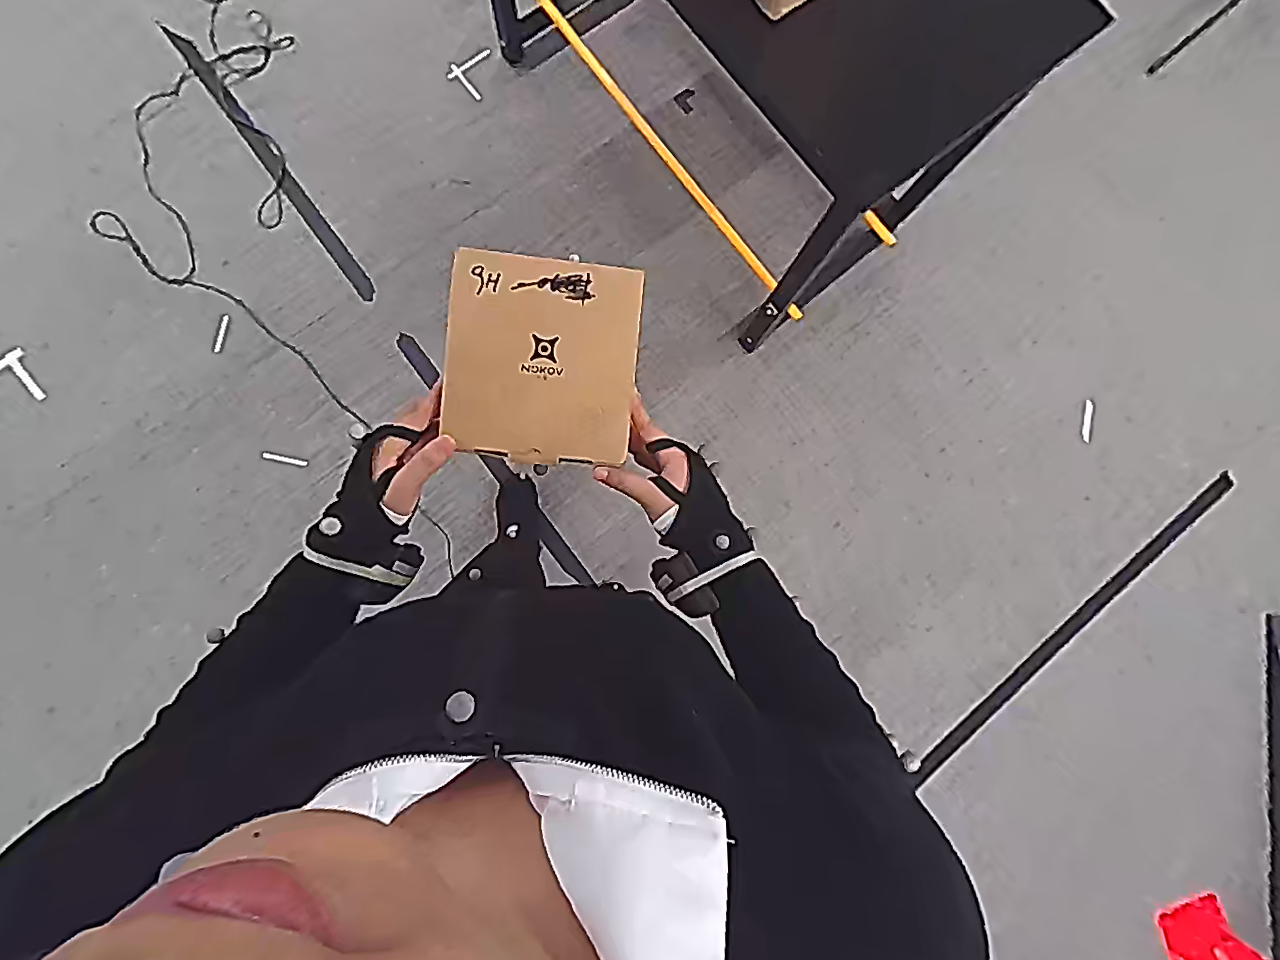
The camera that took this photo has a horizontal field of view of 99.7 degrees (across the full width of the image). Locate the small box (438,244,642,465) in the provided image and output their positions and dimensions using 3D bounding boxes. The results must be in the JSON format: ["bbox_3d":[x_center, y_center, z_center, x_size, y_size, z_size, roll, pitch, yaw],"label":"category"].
[{"bbox_3d":[-0.093,-0.112,0.550,0.168,0.176,0.179,5,93,-6],"label":"small box"}]
